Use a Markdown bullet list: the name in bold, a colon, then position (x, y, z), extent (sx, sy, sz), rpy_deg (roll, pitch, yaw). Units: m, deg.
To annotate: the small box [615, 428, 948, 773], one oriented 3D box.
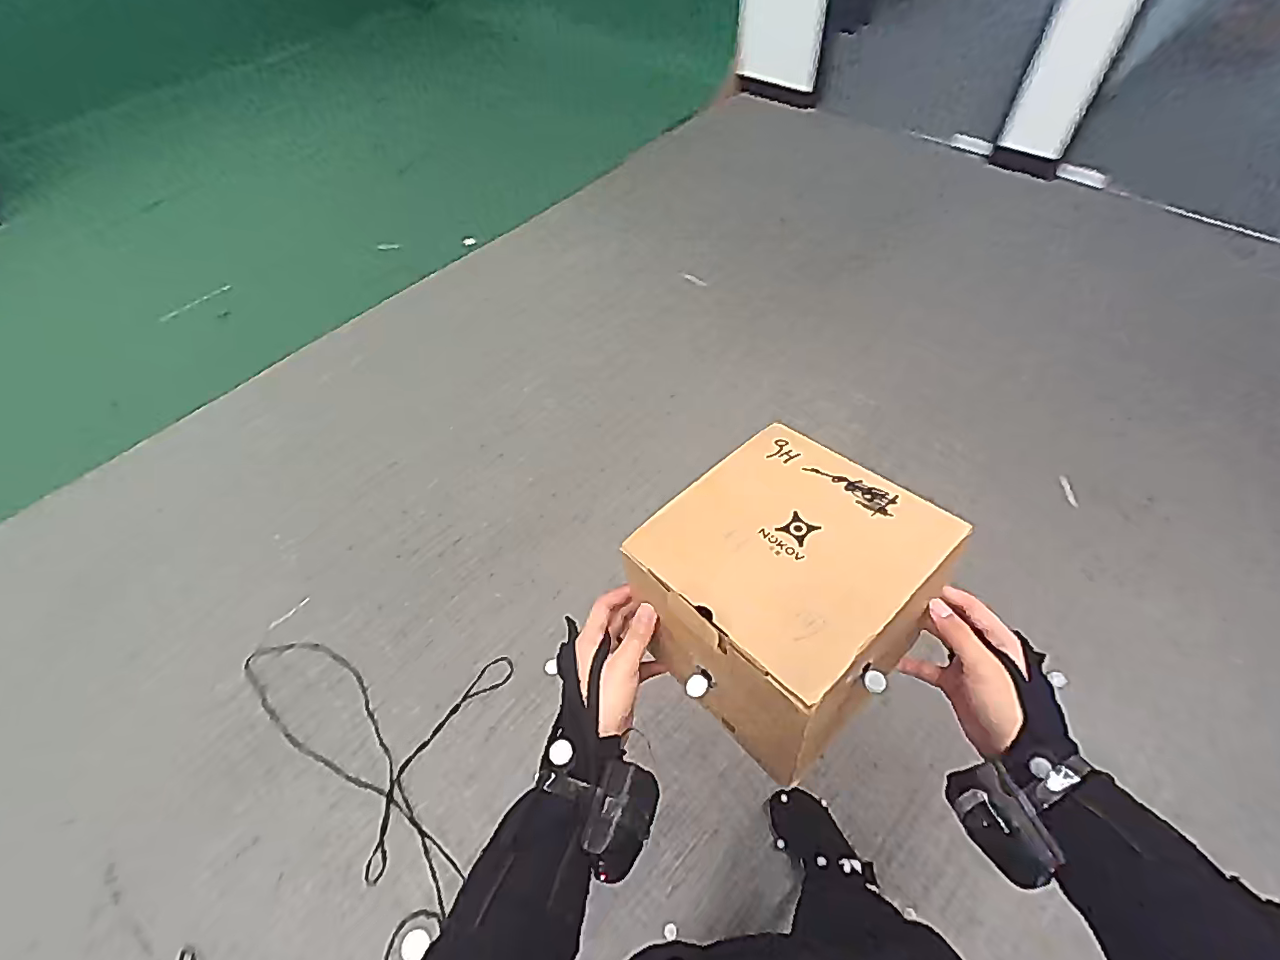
- **small box**: position (0.108, 0.096, 0.438), extent (0.179, 0.176, 0.168), rpy_deg (-37, 52, -23)
